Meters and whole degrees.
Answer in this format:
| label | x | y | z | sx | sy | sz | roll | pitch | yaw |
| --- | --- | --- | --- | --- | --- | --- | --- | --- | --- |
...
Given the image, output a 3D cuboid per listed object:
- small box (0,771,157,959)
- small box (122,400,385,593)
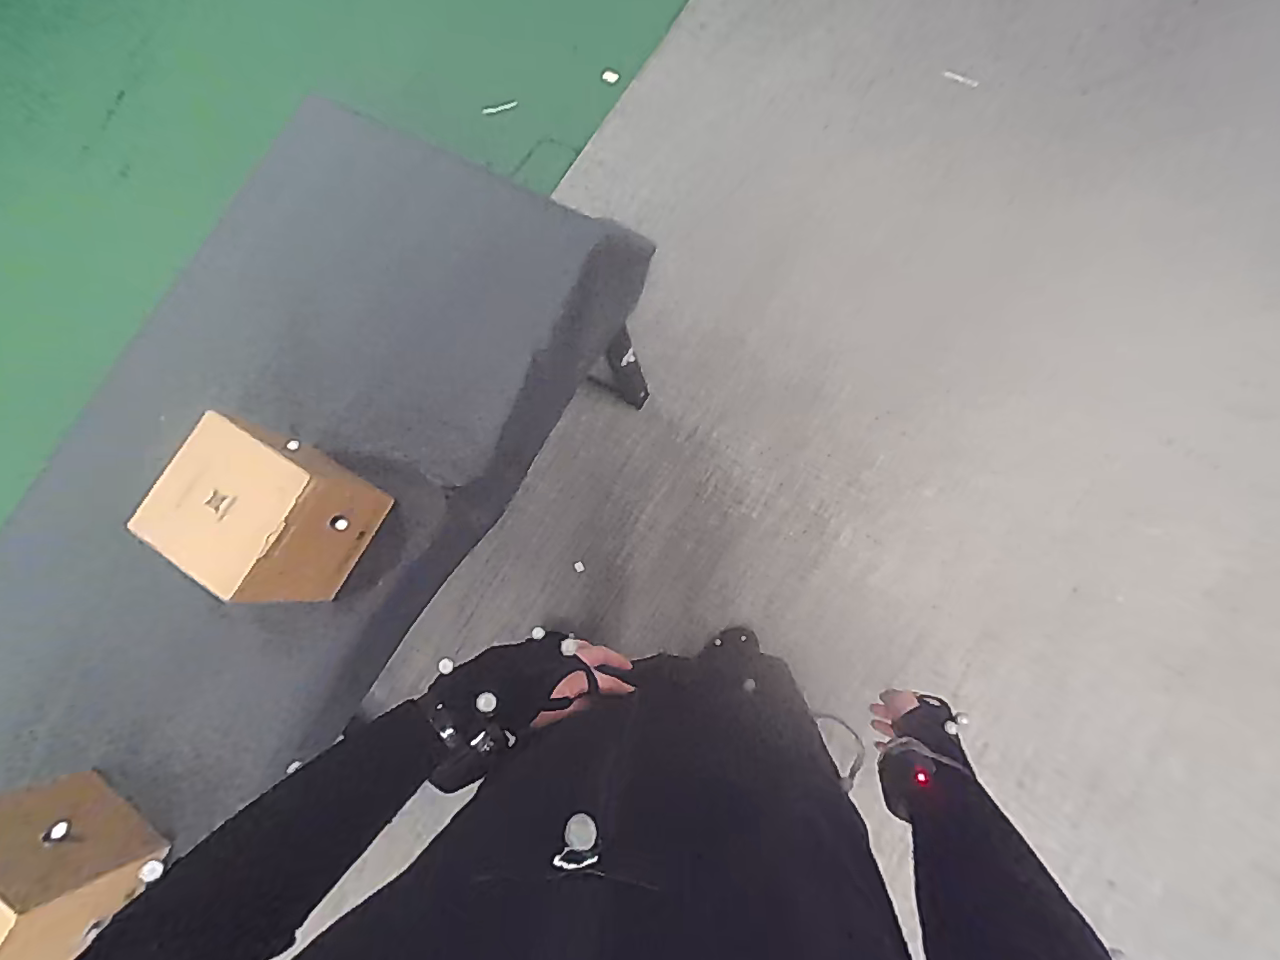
| label | x | y | z | sx | sy | sz | roll | pitch | yaw |
| --- | --- | --- | --- | --- | --- | --- | --- | --- | --- |
| small box | -0.741 | 0.472 | 0.630 | 0.179 | 0.176 | 0.168 | 30 | 84 | 12 |
| small box | -0.471 | 0.029 | 0.689 | 0.179 | 0.176 | 0.168 | 29 | 82 | 13 |
